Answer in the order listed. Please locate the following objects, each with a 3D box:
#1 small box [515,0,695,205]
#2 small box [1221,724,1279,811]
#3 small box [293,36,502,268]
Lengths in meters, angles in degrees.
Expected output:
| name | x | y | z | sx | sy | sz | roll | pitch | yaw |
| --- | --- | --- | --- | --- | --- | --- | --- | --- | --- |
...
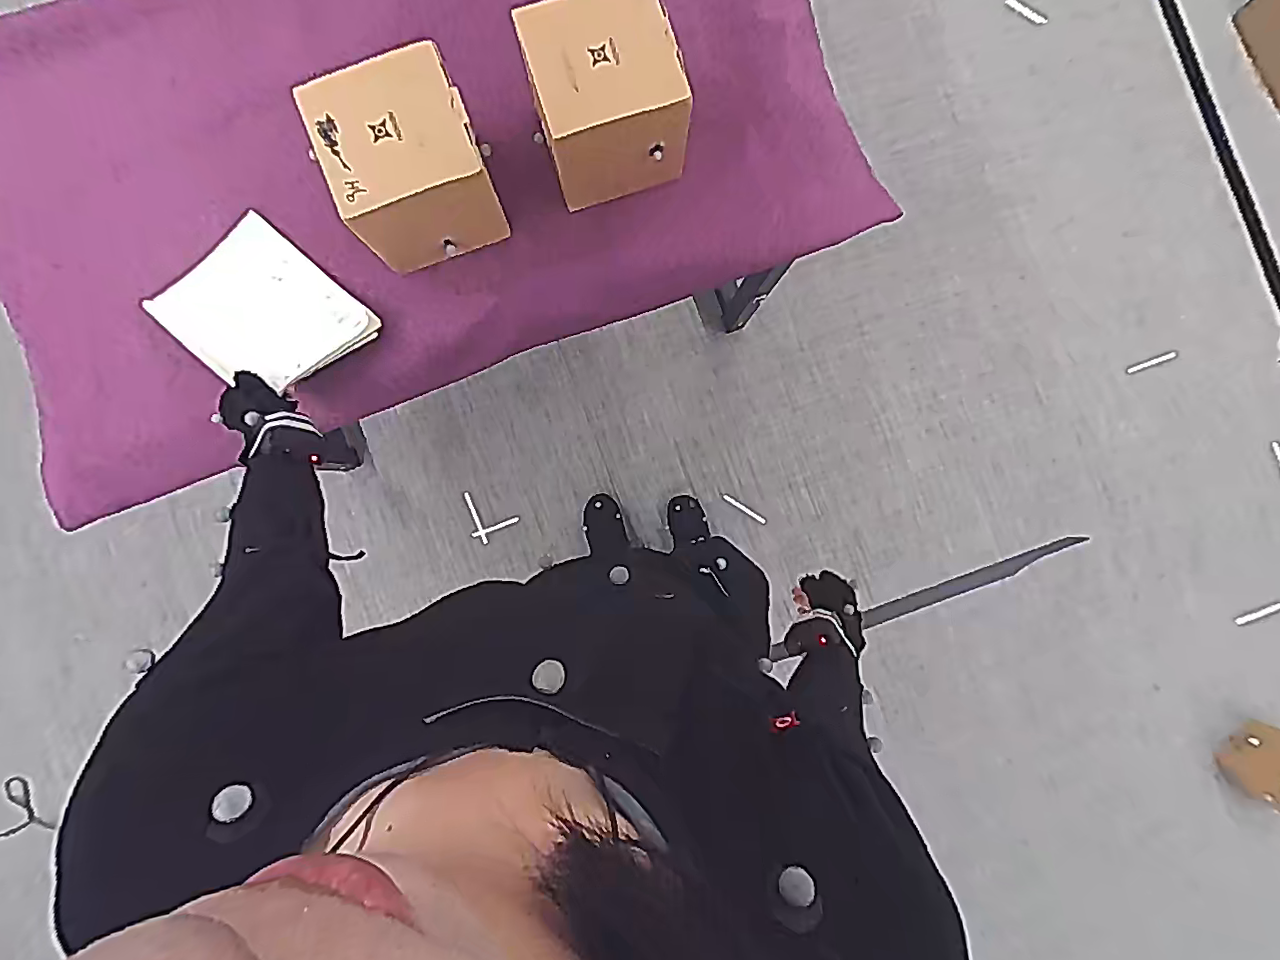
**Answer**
| name | x | y | z | sx | sy | sz | roll | pitch | yaw |
| --- | --- | --- | --- | --- | --- | --- | --- | --- | --- |
| small box | -0.042 | -0.498 | 0.708 | 0.179 | 0.176 | 0.168 | -18 | 88 | -1 |
| small box | 1.793 | 0.814 | 1.487 | 0.168 | 0.176 | 0.179 | -43 | 90 | -2 |
| small box | -0.290 | -0.404 | 0.697 | 0.179 | 0.176 | 0.168 | -21 | 89 | -3 |
